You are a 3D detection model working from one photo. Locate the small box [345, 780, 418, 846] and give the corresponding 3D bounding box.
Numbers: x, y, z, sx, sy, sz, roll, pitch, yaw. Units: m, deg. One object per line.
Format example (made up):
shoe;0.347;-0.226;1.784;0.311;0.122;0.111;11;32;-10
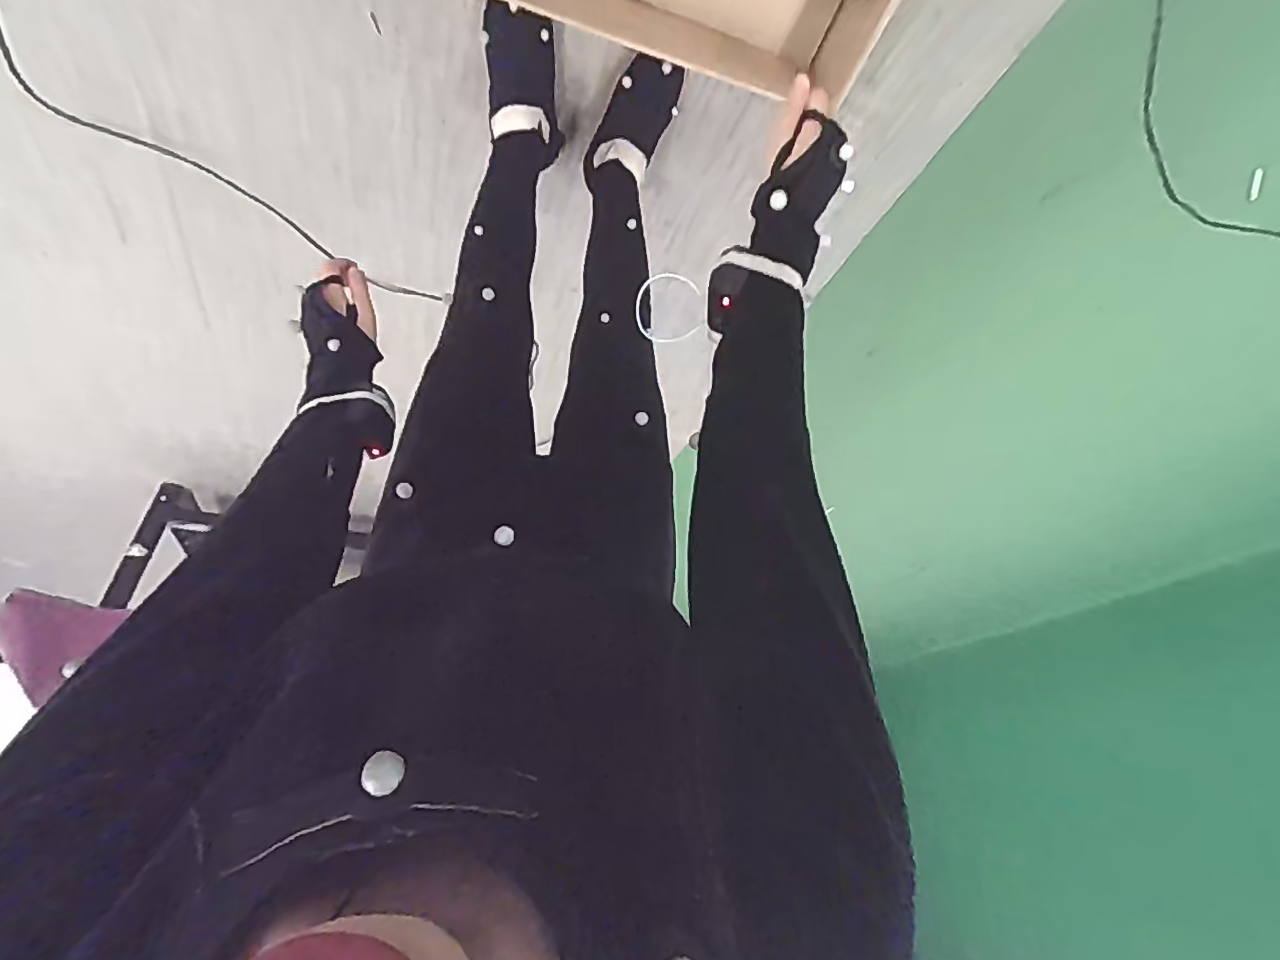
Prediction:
small box;-0.832;1.074;1.746;0.168;0.176;0.179;19;141;-29
